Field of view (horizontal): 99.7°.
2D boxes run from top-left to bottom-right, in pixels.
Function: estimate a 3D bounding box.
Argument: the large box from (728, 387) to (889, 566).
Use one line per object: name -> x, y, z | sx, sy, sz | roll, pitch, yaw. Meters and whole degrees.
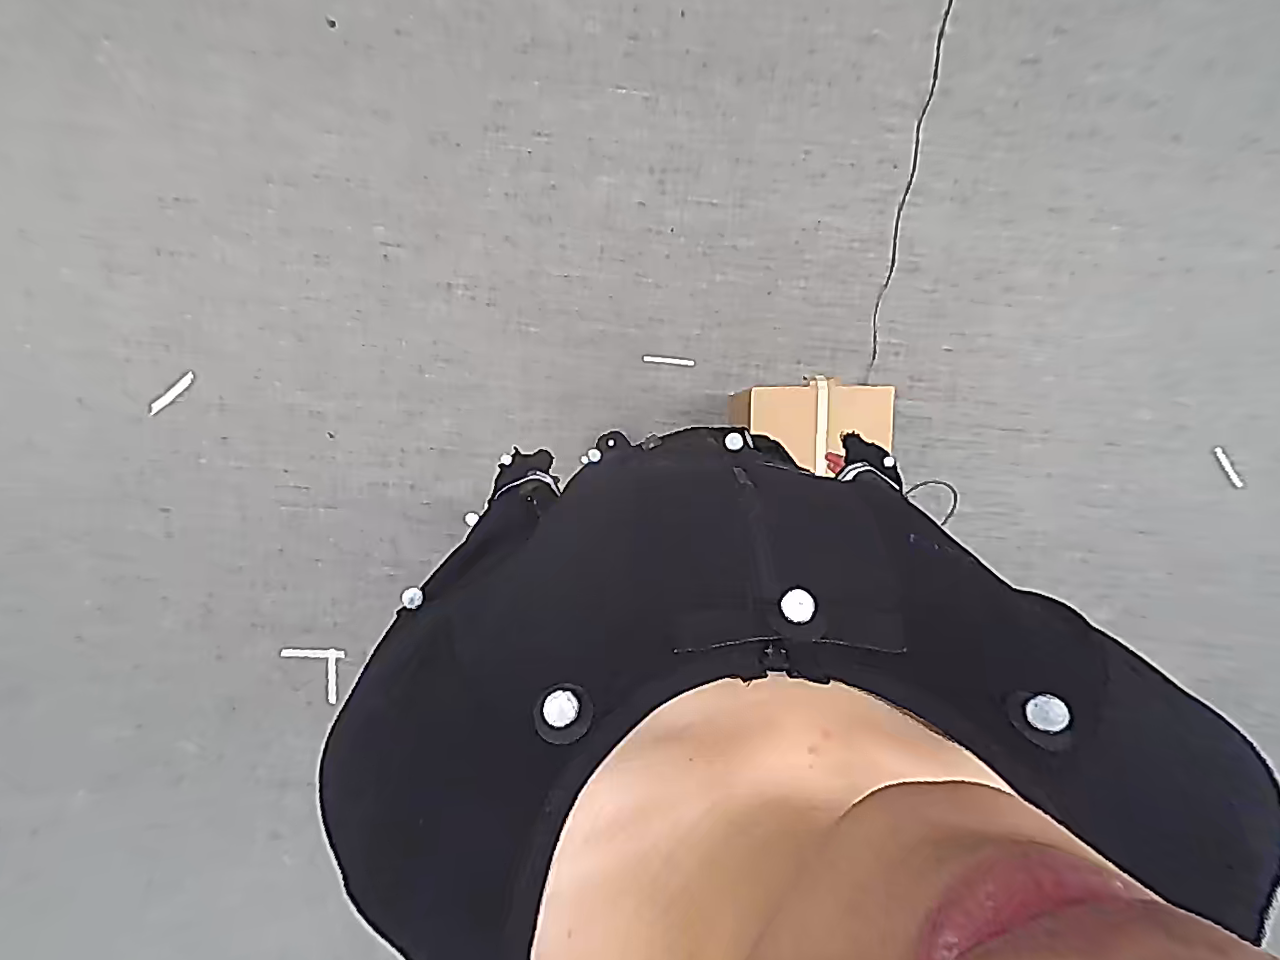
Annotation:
large box -> 0.401, -0.021, 1.364 | 0.320, 0.320, 0.408 | -1, 97, 1
